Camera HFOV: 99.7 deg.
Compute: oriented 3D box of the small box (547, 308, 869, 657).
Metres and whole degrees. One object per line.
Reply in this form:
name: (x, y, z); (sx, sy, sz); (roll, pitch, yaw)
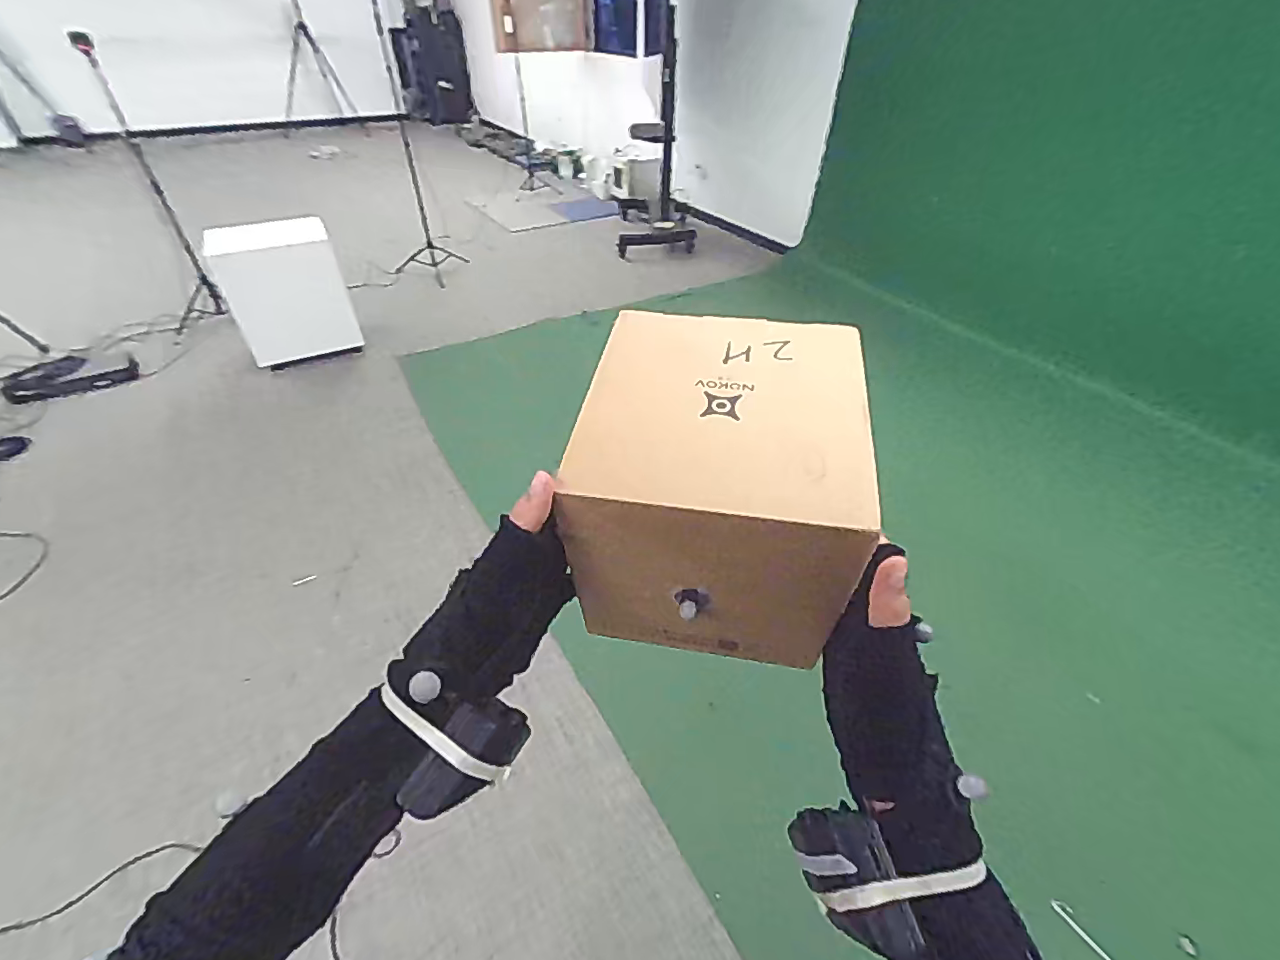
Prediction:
small box: (0.049, 0.003, 0.382); (0.168, 0.176, 0.179); (7, 49, 8)
